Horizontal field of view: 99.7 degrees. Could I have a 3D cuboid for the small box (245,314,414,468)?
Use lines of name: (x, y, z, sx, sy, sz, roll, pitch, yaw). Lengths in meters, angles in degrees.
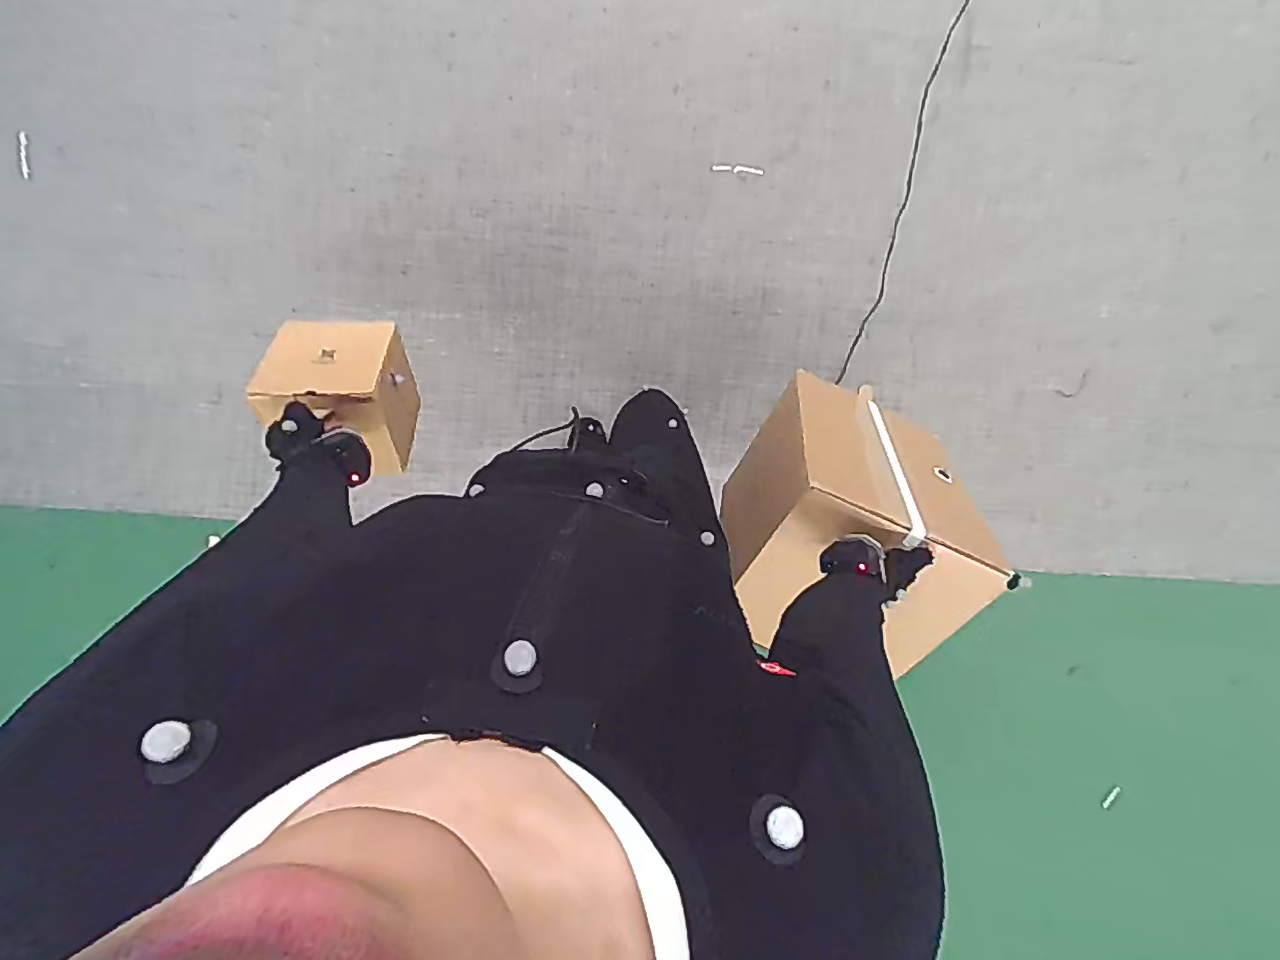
small box: (-0.464, -0.137, 0.845, 0.168, 0.179, 0.176, -2, 142, -8)
